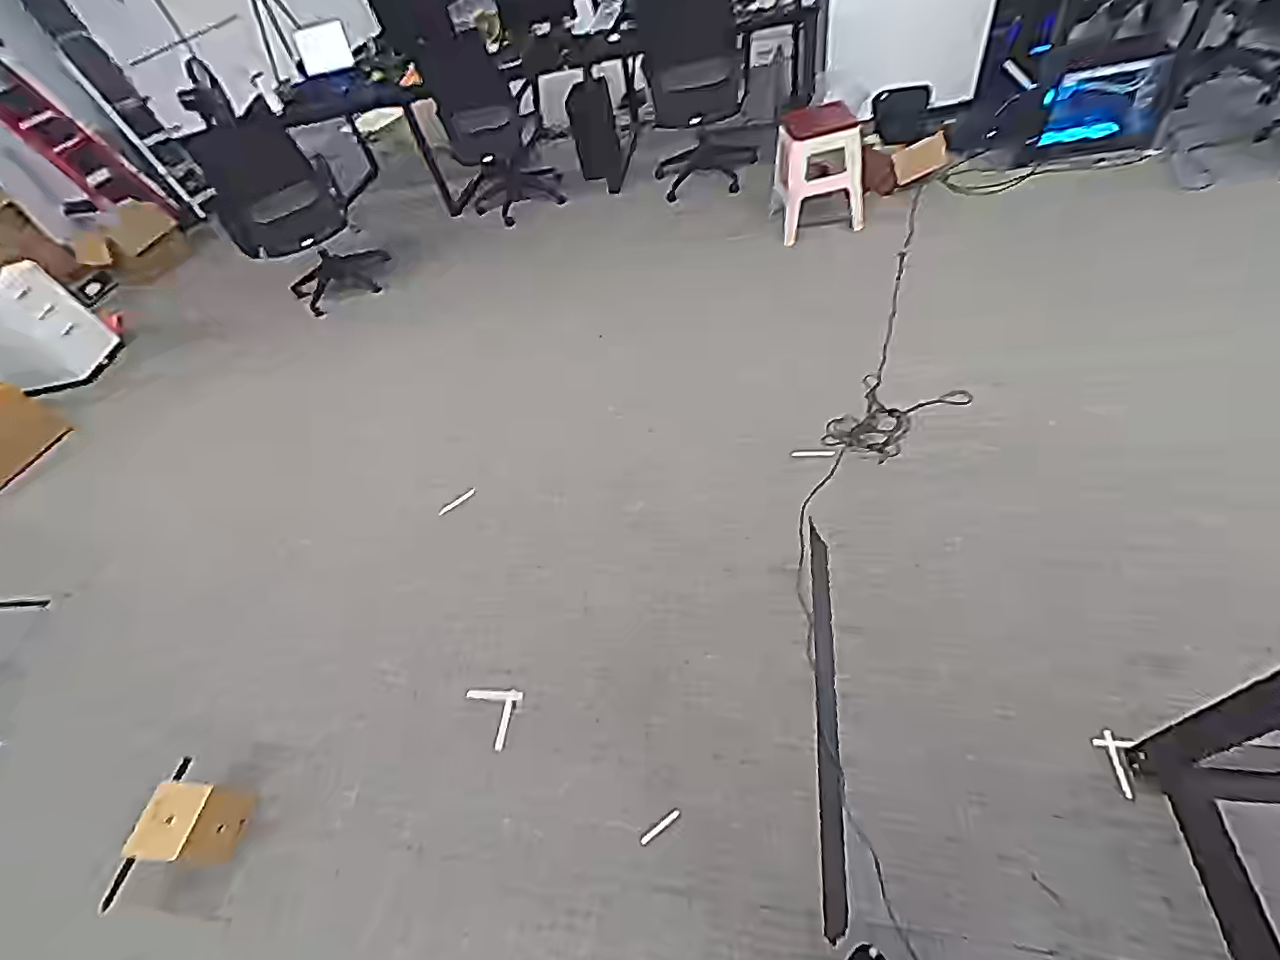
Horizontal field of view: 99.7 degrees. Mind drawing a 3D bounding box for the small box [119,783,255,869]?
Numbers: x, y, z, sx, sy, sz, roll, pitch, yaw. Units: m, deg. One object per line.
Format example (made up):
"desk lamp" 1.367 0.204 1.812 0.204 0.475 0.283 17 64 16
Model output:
"small box" -1.173 0.909 1.418 0.179 0.176 0.168 -3 51 13
